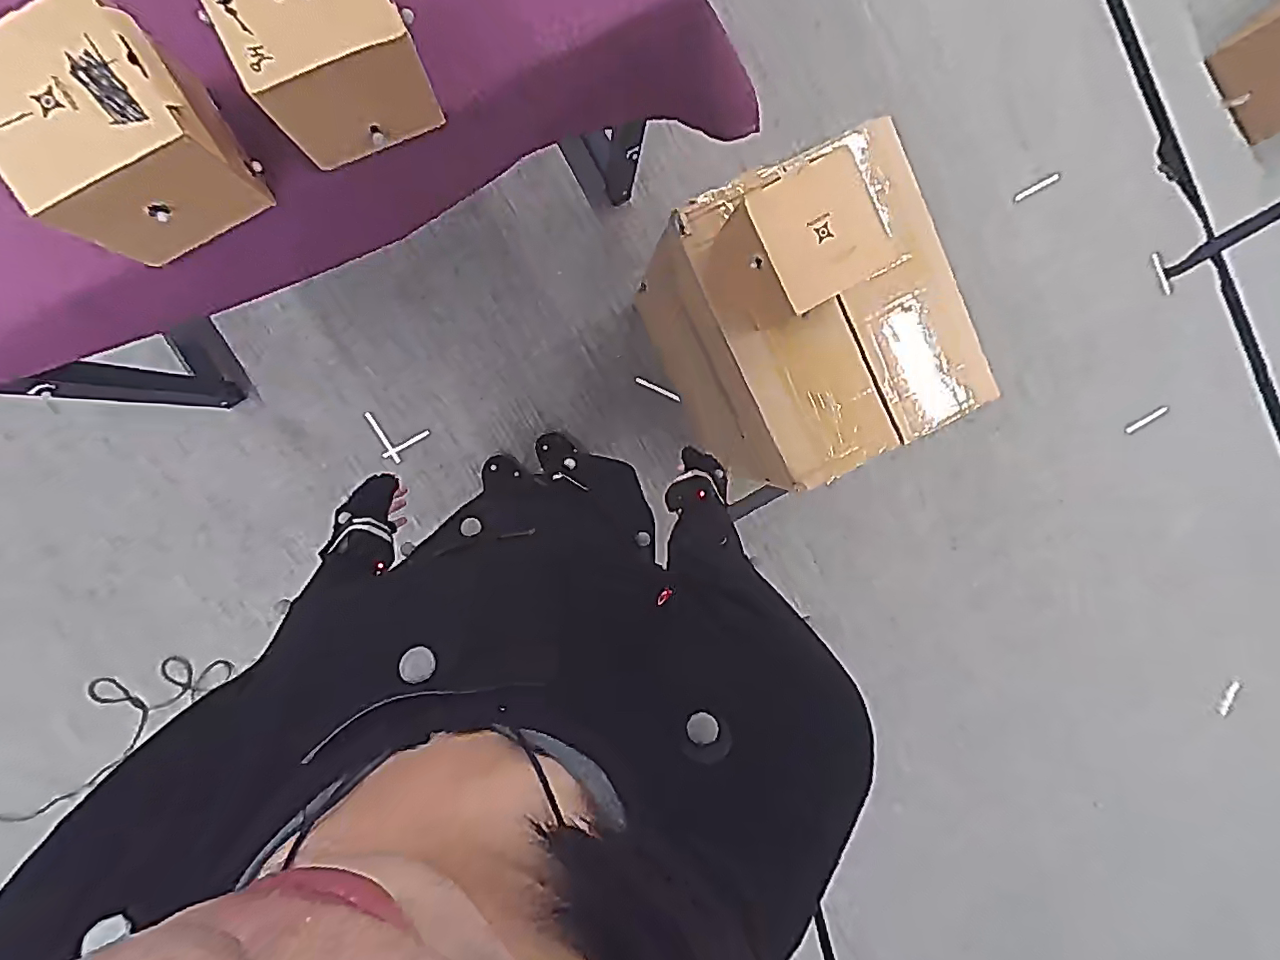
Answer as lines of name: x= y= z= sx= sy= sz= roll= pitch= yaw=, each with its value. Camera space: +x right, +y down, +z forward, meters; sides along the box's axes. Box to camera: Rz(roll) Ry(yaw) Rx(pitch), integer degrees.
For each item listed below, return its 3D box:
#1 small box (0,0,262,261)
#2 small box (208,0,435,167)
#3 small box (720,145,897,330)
small box: x=-0.575 y=-0.381 z=0.609 sx=0.179 sy=0.176 sz=0.168 roll=-30 pitch=96 yaw=-2
small box: x=-0.358 y=-0.507 z=0.627 sx=0.179 sy=0.176 sz=0.168 roll=-25 pitch=96 yaw=-5
small box: x=0.240 y=-0.349 z=0.815 sx=0.168 sy=0.176 sz=0.179 roll=-29 pitch=99 yaw=-1
